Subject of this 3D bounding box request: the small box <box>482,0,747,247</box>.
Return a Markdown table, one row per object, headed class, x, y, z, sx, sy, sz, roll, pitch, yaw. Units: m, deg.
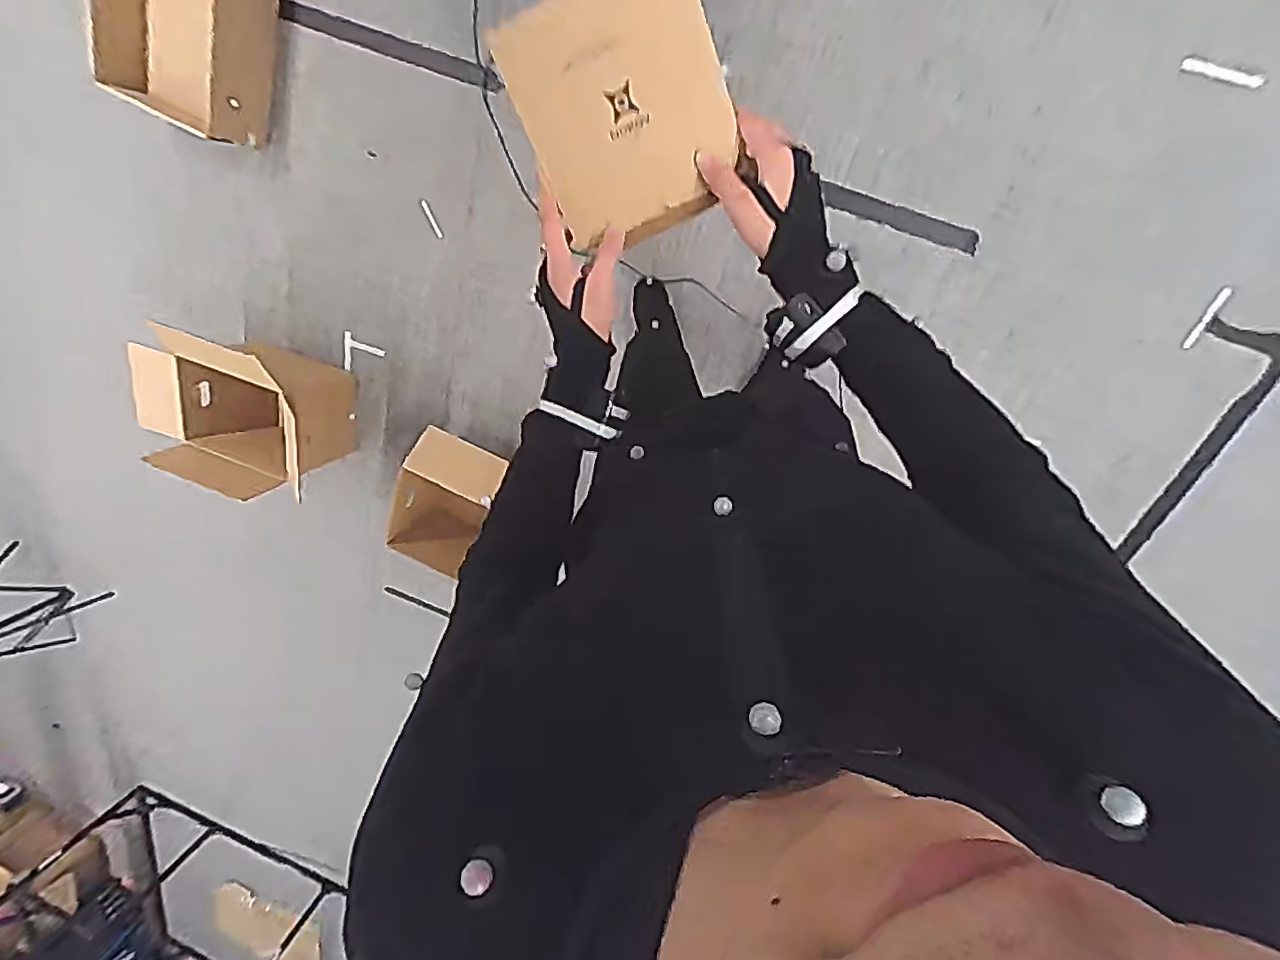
| class | x | y | z | sx | sy | sz | roll | pitch | yaw |
| --- | --- | --- | --- | --- | --- | --- | --- | --- | --- |
| small box | -0.013 | -0.343 | 0.504 | 0.168 | 0.176 | 0.179 | -20 | 115 | 11 |
